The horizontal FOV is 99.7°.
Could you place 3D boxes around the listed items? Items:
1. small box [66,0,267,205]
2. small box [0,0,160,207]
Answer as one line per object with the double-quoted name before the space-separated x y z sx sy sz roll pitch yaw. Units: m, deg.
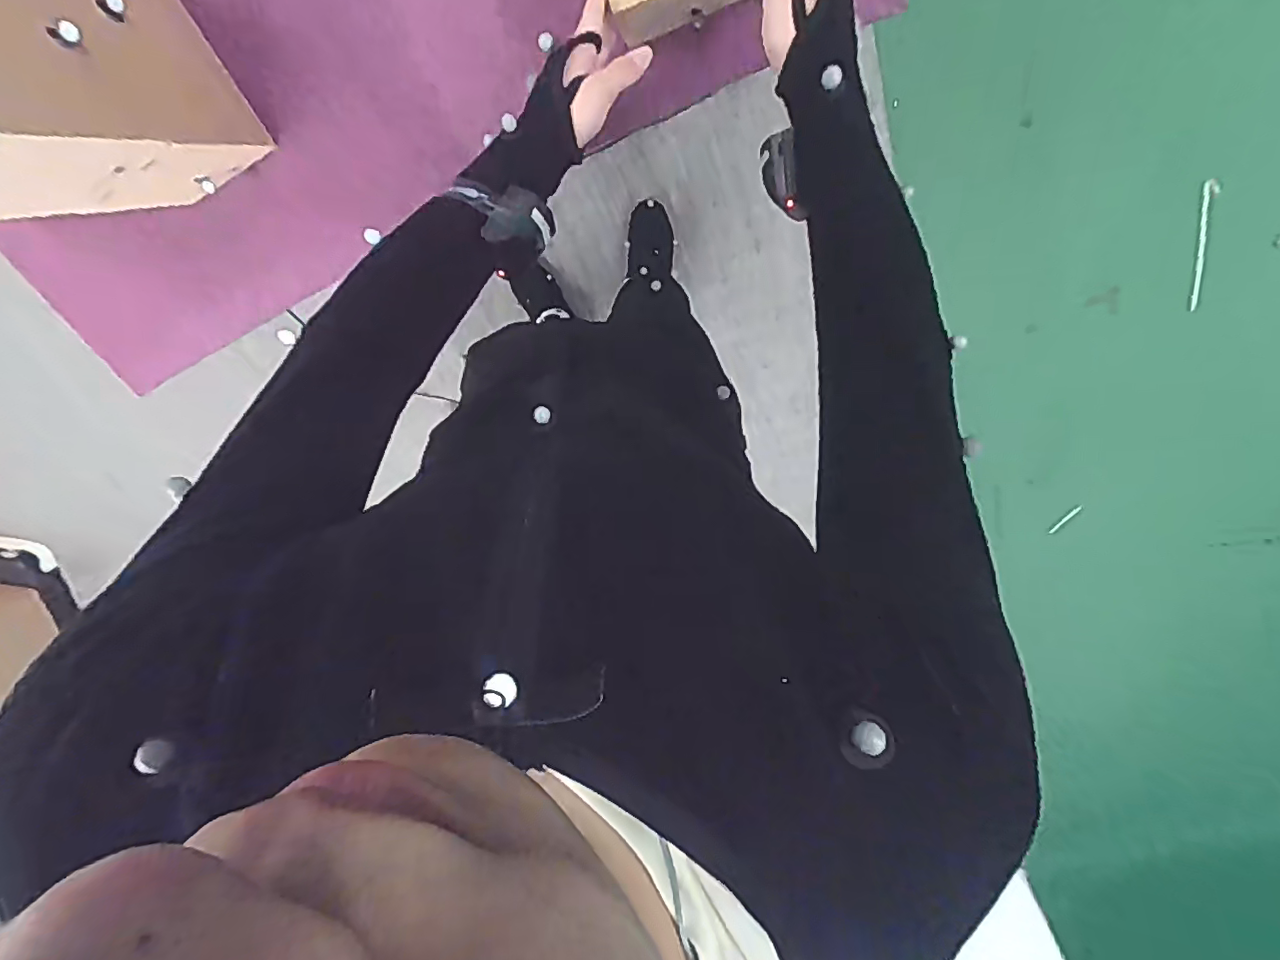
"small box" -0.587 -0.438 0.611 0.168 0.176 0.179 -19 118 16
"small box" -0.599 -0.354 0.470 0.168 0.176 0.179 -19 117 16
